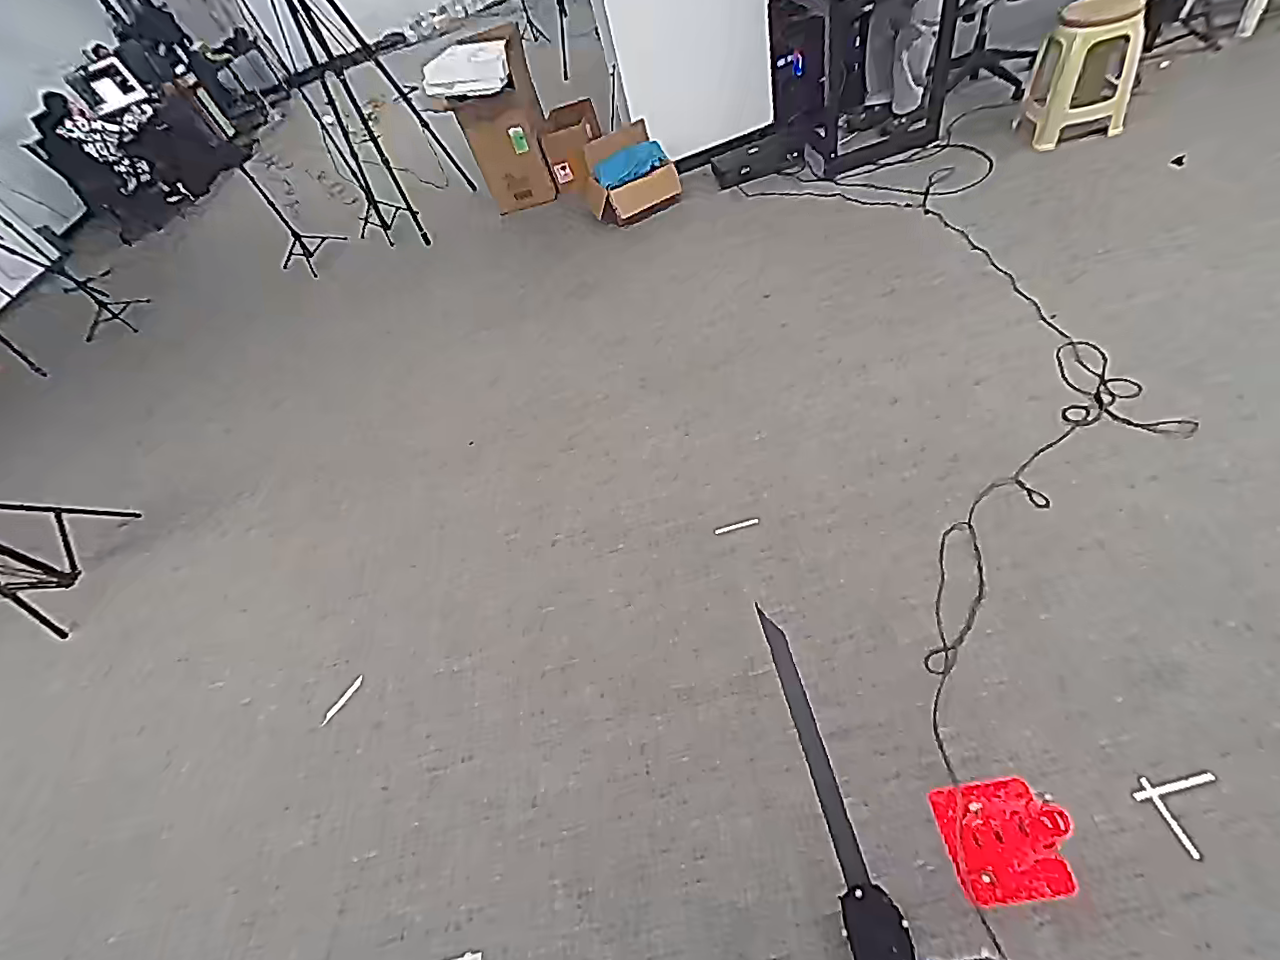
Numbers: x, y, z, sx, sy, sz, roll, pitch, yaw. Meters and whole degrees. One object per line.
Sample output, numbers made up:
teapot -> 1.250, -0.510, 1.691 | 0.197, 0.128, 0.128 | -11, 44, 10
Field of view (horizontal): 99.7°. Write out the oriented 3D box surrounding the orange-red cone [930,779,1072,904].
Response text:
orange-red cone -> 0.666, 0.612, 0.940 | 0.199, 0.360, 0.198 | -13, 51, 7
